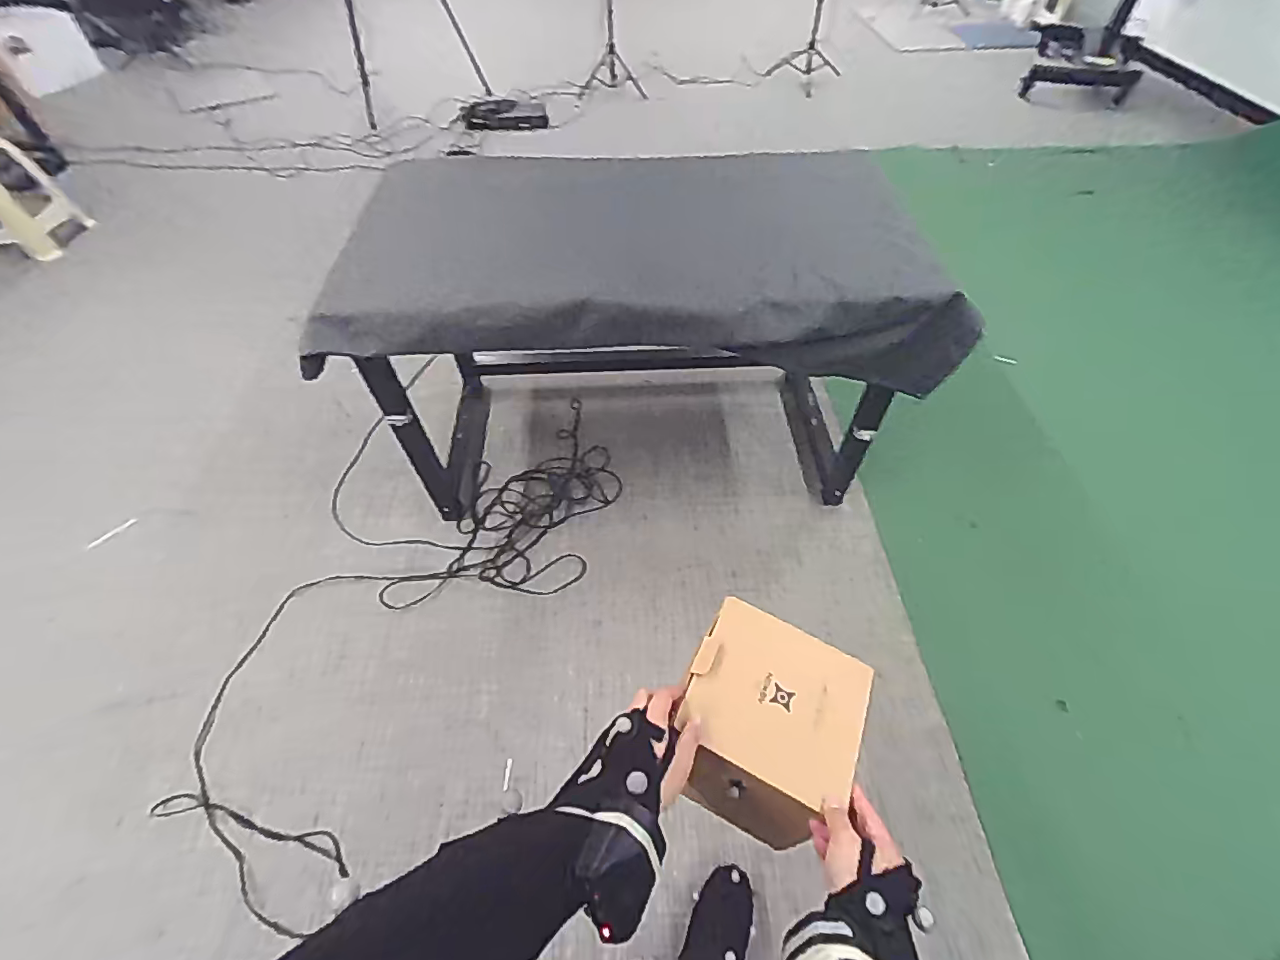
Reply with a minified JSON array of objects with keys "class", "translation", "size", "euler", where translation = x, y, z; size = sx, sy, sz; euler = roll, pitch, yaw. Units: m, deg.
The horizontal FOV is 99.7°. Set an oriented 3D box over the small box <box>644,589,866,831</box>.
[{"class":"small box","translation":[0.120,0.261,0.605],"size":[0.179,0.176,0.168],"euler":[26,50,10]}]
